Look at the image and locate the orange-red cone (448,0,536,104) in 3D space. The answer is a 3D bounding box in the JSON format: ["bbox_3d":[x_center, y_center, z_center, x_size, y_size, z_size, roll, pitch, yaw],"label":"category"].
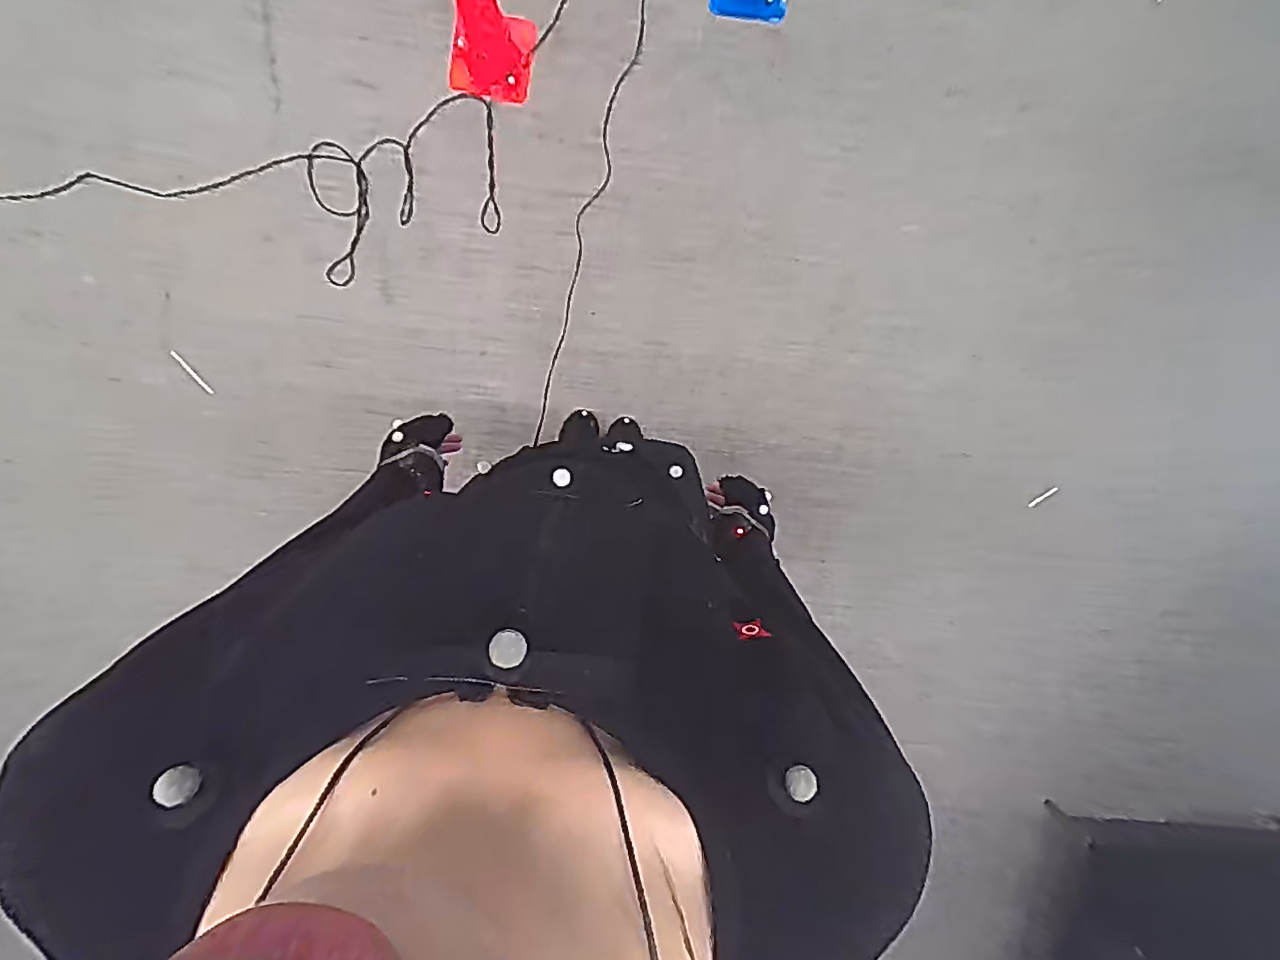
[{"bbox_3d":[-0.360,-1.052,1.190,0.198,0.360,0.199,11,95,-6],"label":"orange-red cone"}]
